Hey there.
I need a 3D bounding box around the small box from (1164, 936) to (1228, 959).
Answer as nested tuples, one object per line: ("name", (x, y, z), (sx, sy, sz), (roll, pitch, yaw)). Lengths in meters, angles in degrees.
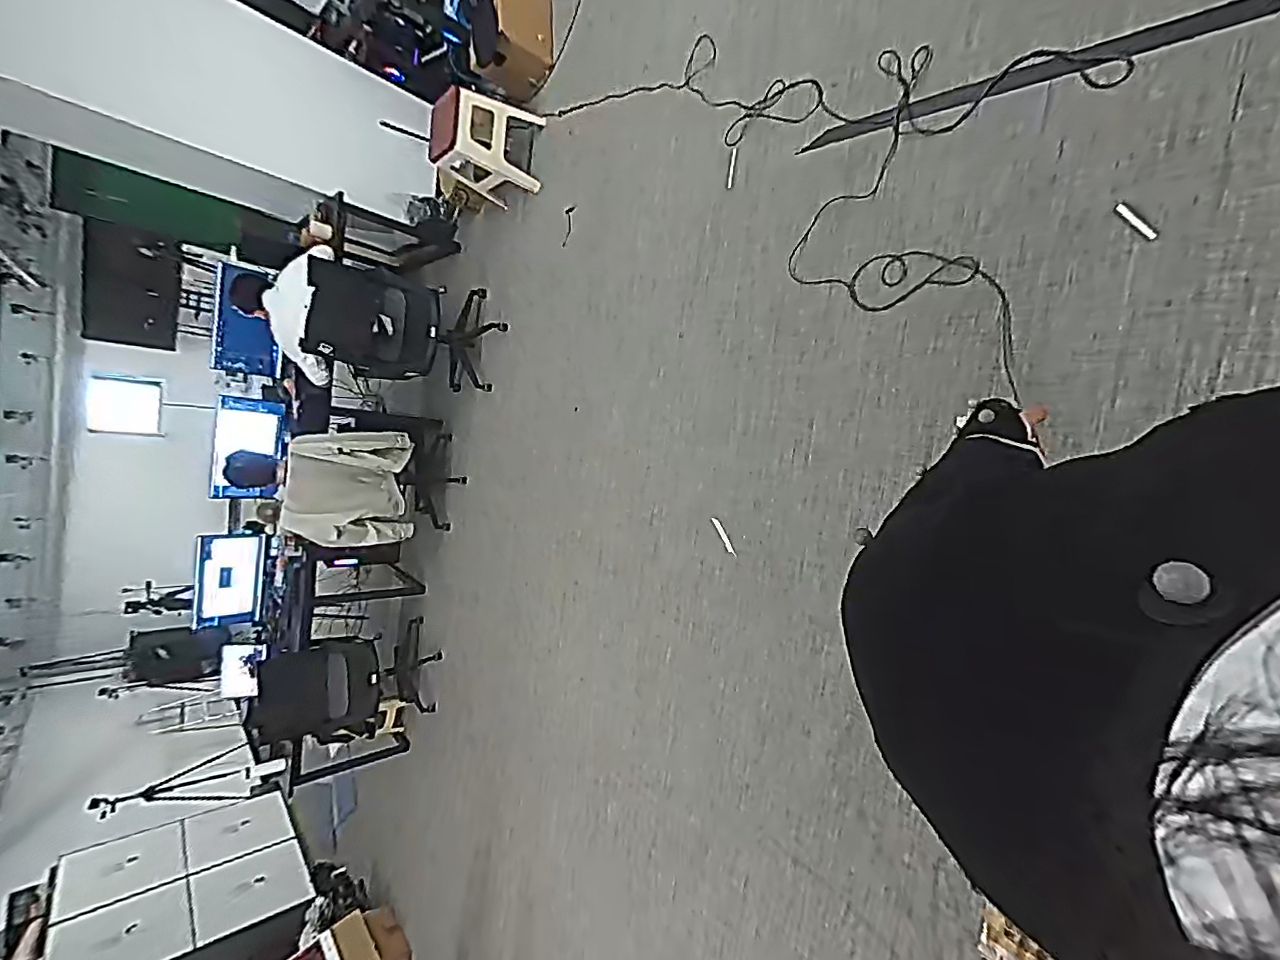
("small box", (0.710, 0.705, 0.628), (0.168, 0.176, 0.179), (13, 95, 44))
